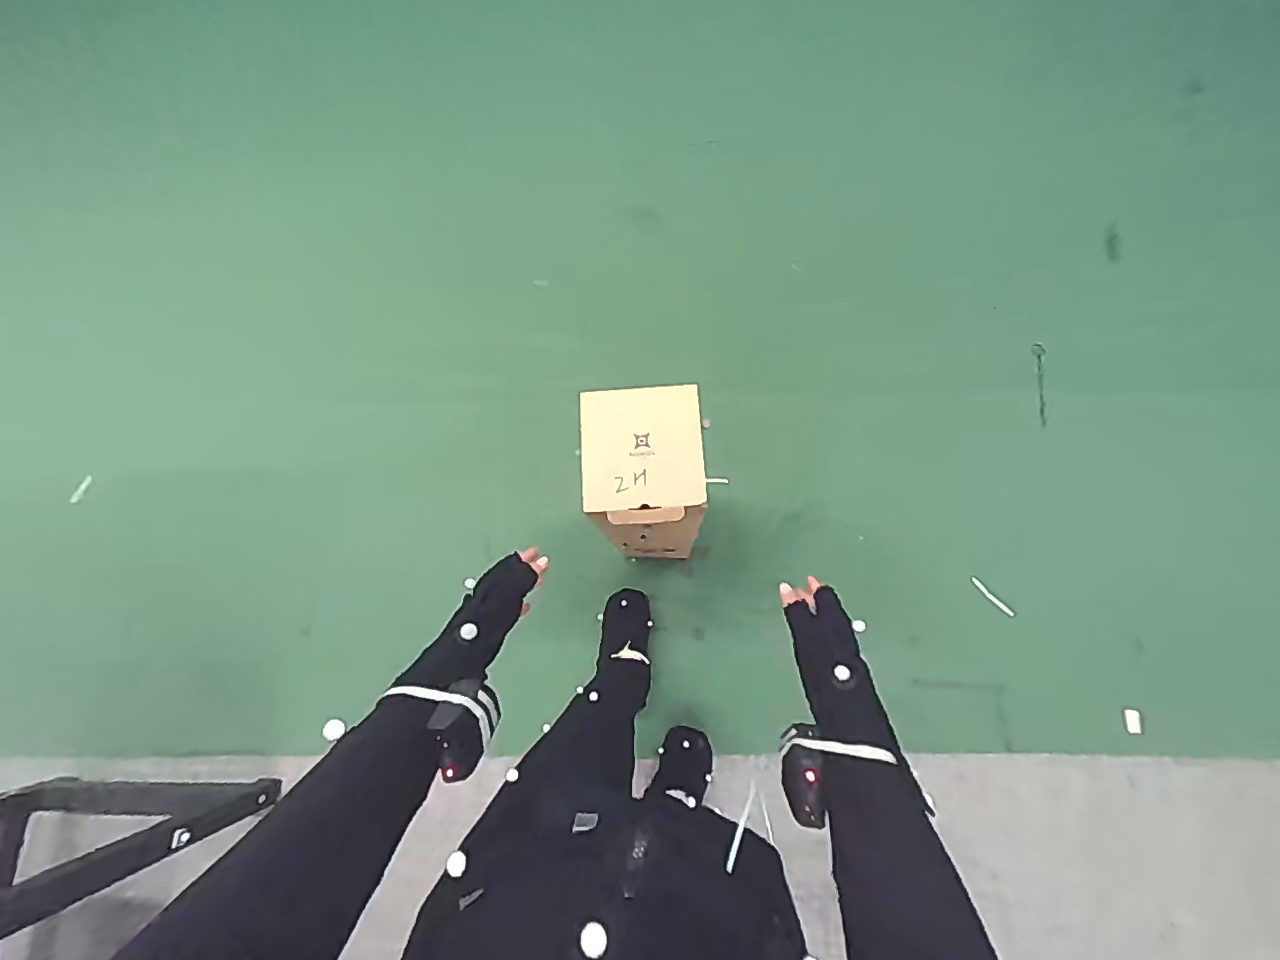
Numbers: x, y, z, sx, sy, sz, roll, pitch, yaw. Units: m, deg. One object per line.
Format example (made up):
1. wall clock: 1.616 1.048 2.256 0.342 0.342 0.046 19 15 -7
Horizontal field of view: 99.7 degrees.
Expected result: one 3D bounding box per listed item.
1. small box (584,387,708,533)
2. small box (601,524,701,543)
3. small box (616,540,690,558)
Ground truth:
1. small box: 0.009 -0.022 0.811 0.168 0.176 0.179 -4 76 3
2. small box: 0.019 0.015 0.972 0.168 0.176 0.179 -2 76 3
3. small box: 0.037 0.092 1.289 0.168 0.176 0.179 0 76 4
